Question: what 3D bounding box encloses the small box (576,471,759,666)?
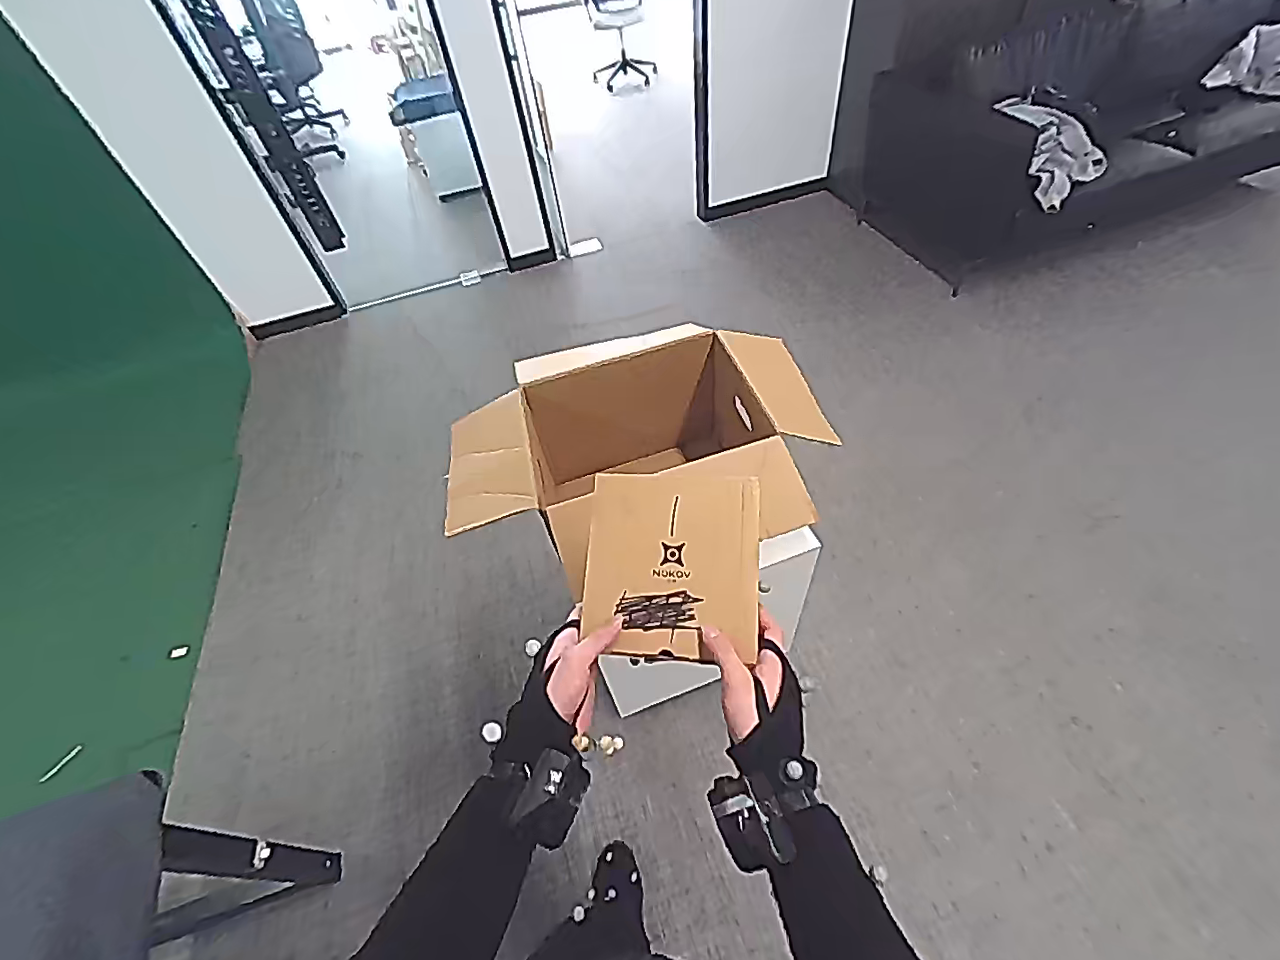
[{"bbox_3d":[0.039,0.100,0.590,0.168,0.176,0.179,3,73,9],"label":"small box"}]
